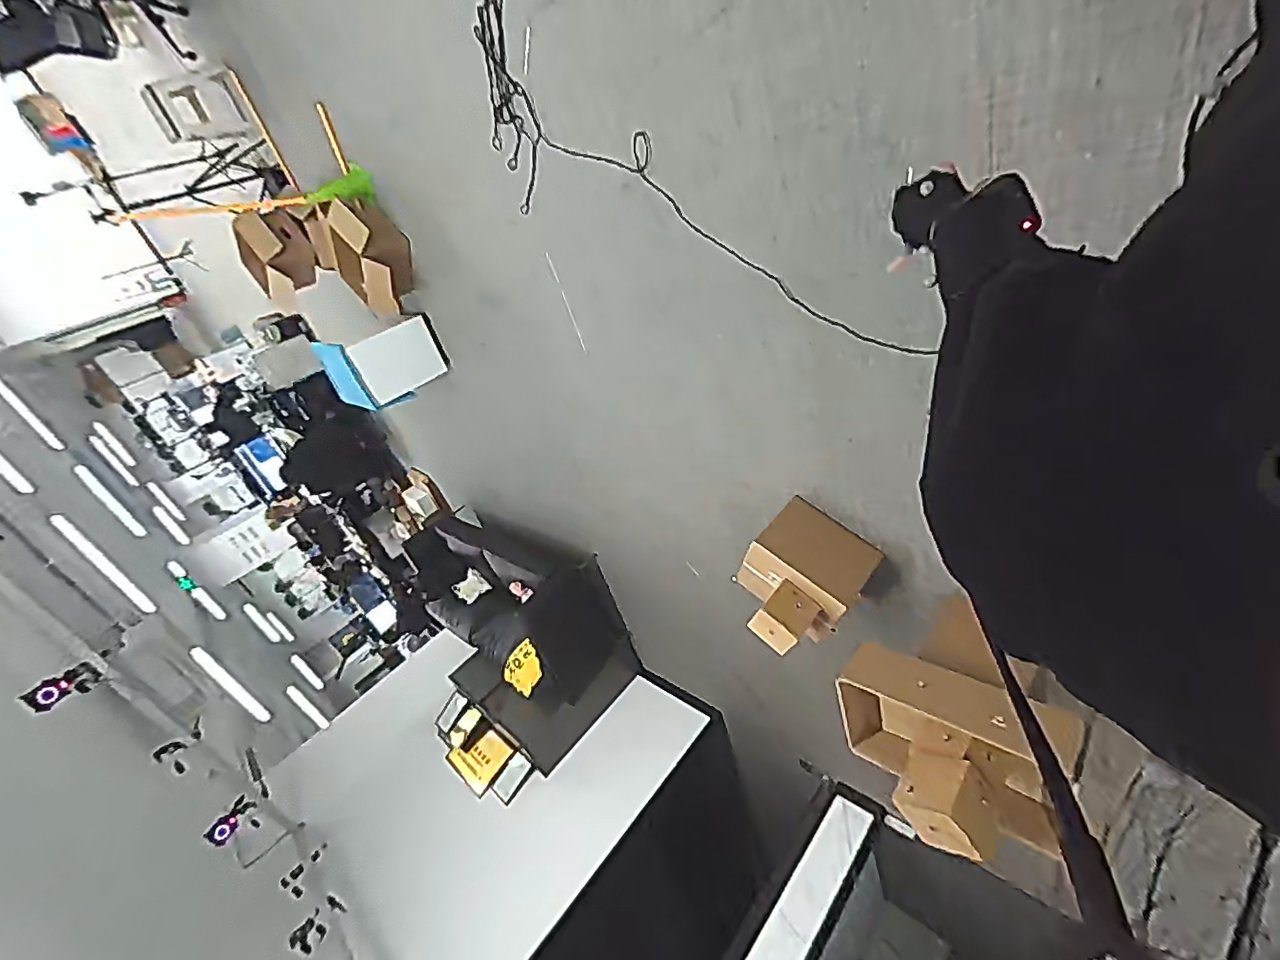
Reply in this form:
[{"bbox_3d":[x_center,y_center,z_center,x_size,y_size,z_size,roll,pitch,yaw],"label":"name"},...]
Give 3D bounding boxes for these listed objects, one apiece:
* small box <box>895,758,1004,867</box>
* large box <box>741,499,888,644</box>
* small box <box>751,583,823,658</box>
[{"bbox_3d":[0.841,0.891,1.468,0.168,0.176,0.179,53,148,-4],"label":"small box"},{"bbox_3d":[0.673,0.354,2.124,0.408,0.320,0.320,38,147,24],"label":"large box"},{"bbox_3d":[0.542,0.517,1.992,0.168,0.176,0.179,40,148,19],"label":"small box"}]
